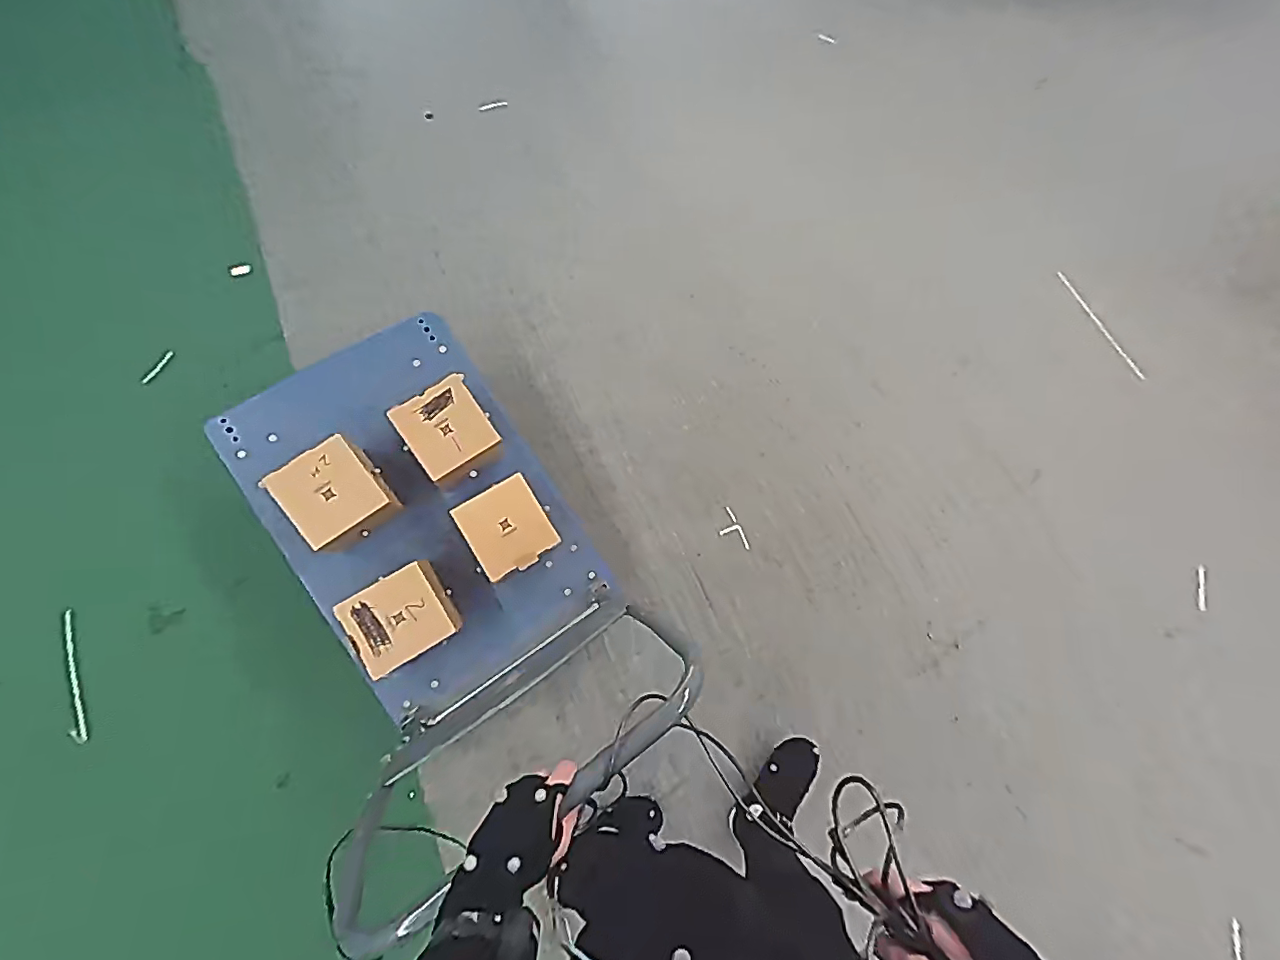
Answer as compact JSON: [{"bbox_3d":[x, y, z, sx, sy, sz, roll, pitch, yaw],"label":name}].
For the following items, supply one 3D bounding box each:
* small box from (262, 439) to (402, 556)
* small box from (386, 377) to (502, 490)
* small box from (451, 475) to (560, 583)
[{"bbox_3d":[-0.633,0.042,1.139,0.168,0.176,0.179,-37,90,-15],"label":"small box"},{"bbox_3d":[-0.426,-0.094,1.202,0.168,0.176,0.179,-35,91,-14],"label":"small box"},{"bbox_3d":[-0.296,0.113,1.200,0.168,0.176,0.179,-32,90,-14],"label":"small box"}]
